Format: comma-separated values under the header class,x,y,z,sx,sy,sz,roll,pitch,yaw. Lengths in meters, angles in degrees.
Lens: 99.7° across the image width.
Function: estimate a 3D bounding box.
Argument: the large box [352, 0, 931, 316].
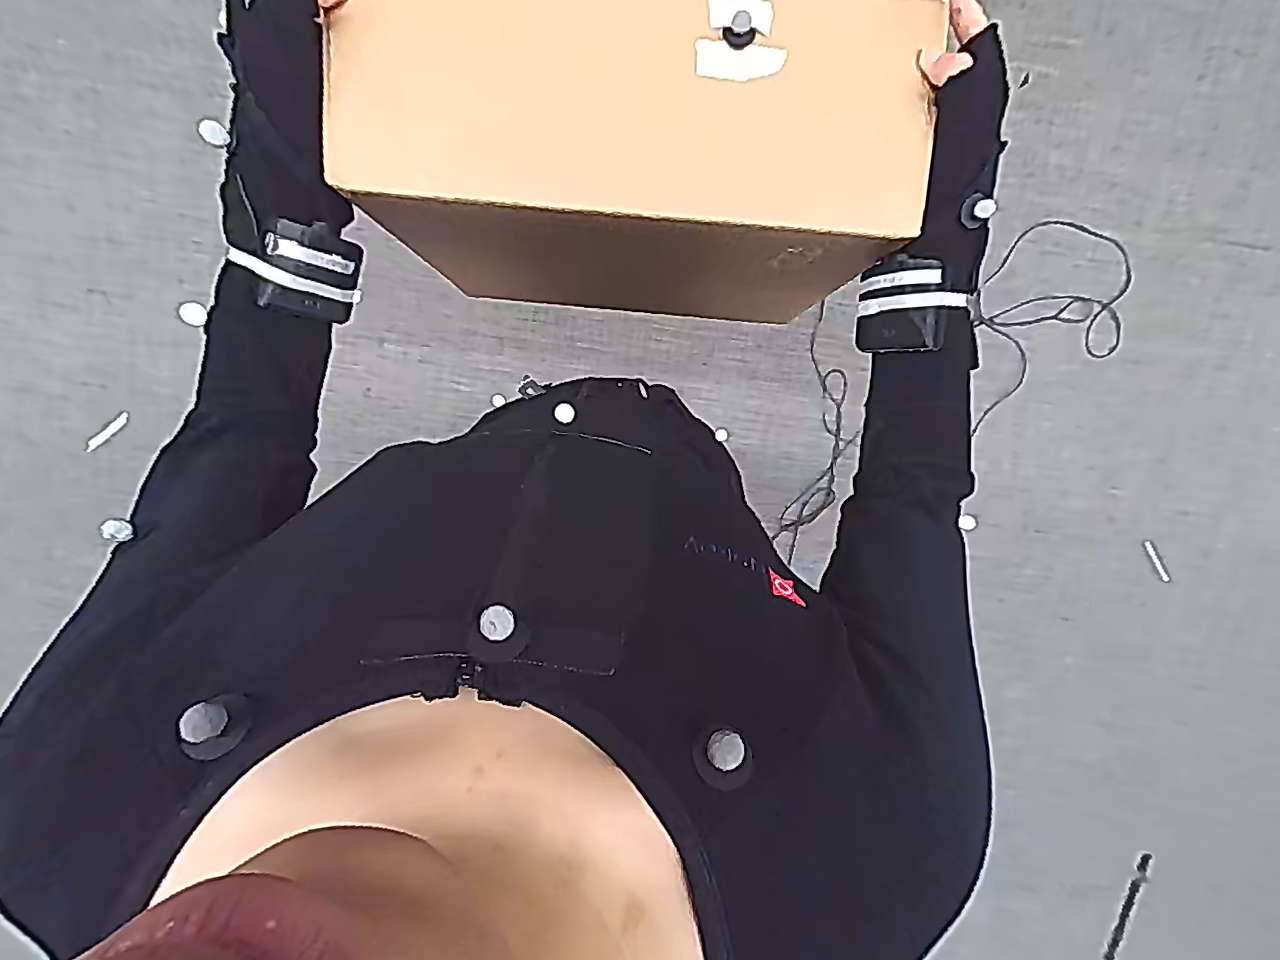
class,x,y,z,sx,sy,sz,roll,pitch,yaw
large box,0.000,-0.356,0.519,0.408,0.320,0.320,4,95,-2
